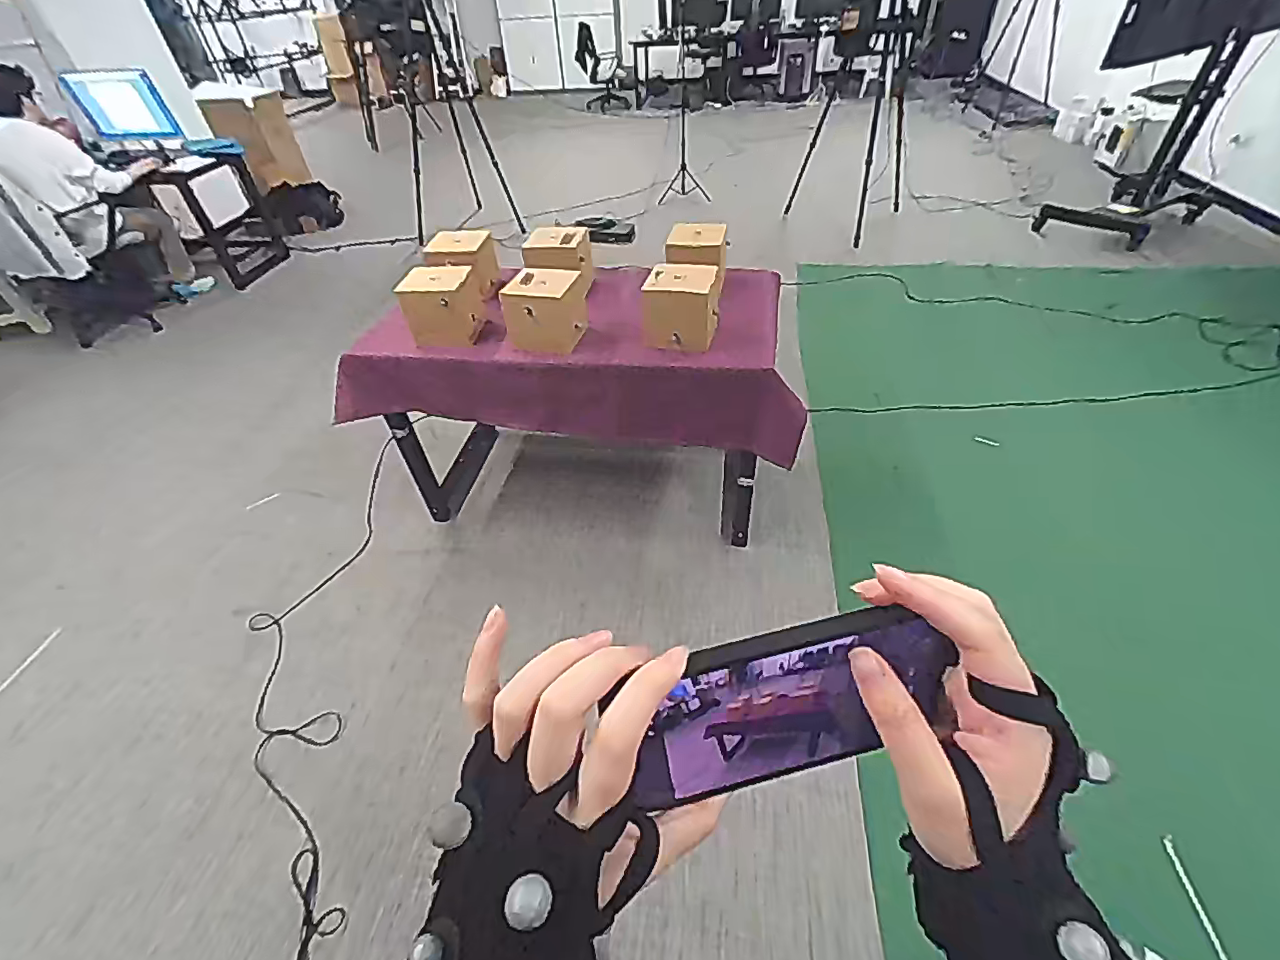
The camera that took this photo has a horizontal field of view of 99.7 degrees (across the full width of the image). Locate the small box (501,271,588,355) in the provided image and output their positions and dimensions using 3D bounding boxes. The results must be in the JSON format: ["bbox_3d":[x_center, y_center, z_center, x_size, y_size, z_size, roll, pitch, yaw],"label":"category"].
[{"bbox_3d":[-0.257,-0.462,1.499,0.179,0.176,0.168,9,45,12],"label":"small box"}]

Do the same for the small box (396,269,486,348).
[{"bbox_3d":[-0.564,-0.493,1.556,0.179,0.176,0.168,1,43,3],"label":"small box"}]

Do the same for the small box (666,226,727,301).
[{"bbox_3d":[0.177,-0.674,1.688,0.168,0.176,0.179,6,45,12],"label":"small box"}]

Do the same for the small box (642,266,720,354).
[{"bbox_3d":[0.113,-0.459,1.468,0.179,0.176,0.168,9,45,13],"label":"small box"}]
